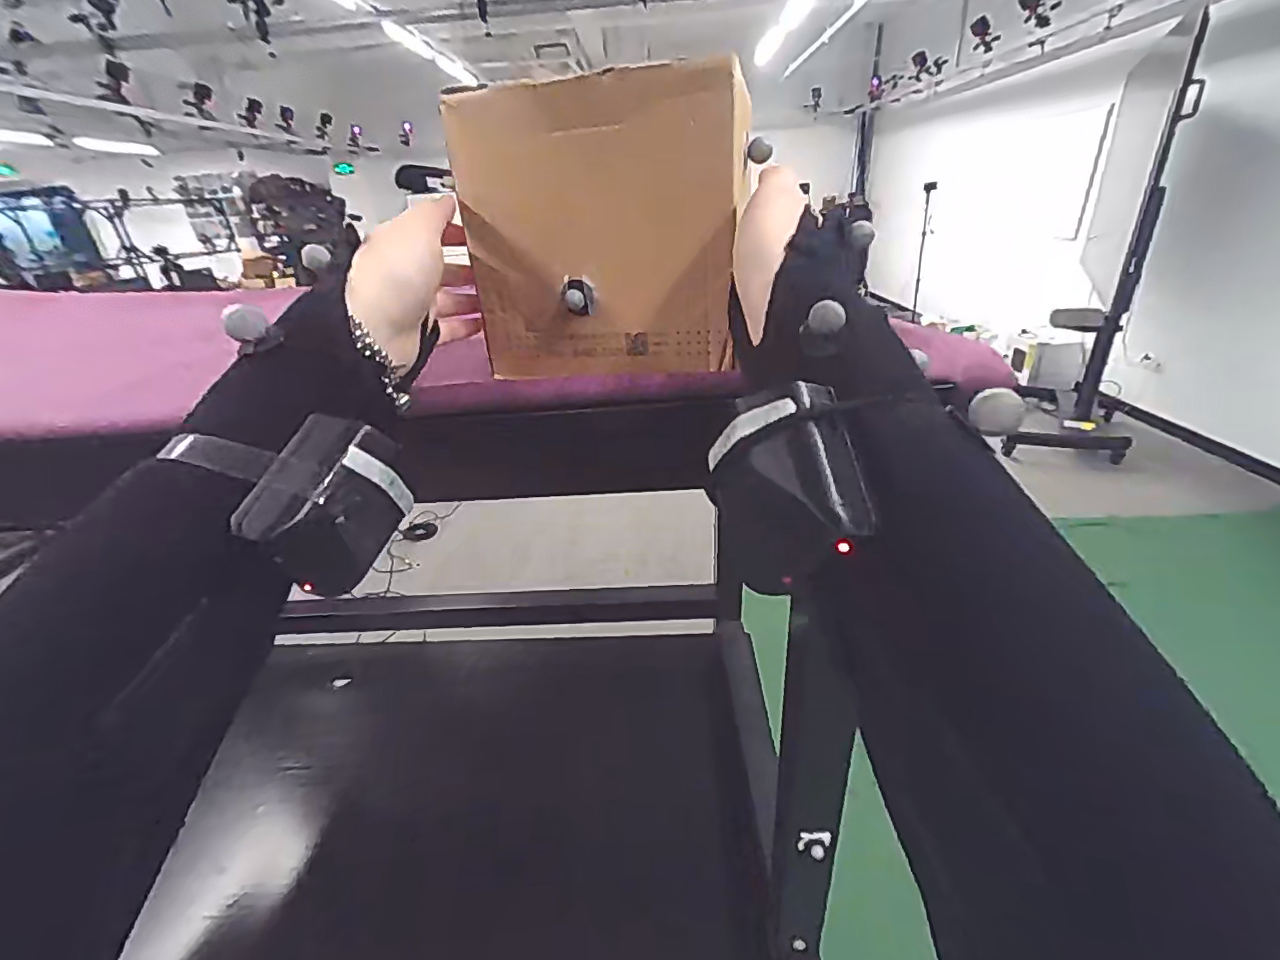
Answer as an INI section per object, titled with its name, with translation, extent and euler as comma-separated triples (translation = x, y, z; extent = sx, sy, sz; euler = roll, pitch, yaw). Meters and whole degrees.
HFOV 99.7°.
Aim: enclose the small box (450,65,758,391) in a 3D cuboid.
[small box]
translation = -0.005, -0.172, 0.388
extent = 0.168, 0.176, 0.179
euler = 2, 30, 12
